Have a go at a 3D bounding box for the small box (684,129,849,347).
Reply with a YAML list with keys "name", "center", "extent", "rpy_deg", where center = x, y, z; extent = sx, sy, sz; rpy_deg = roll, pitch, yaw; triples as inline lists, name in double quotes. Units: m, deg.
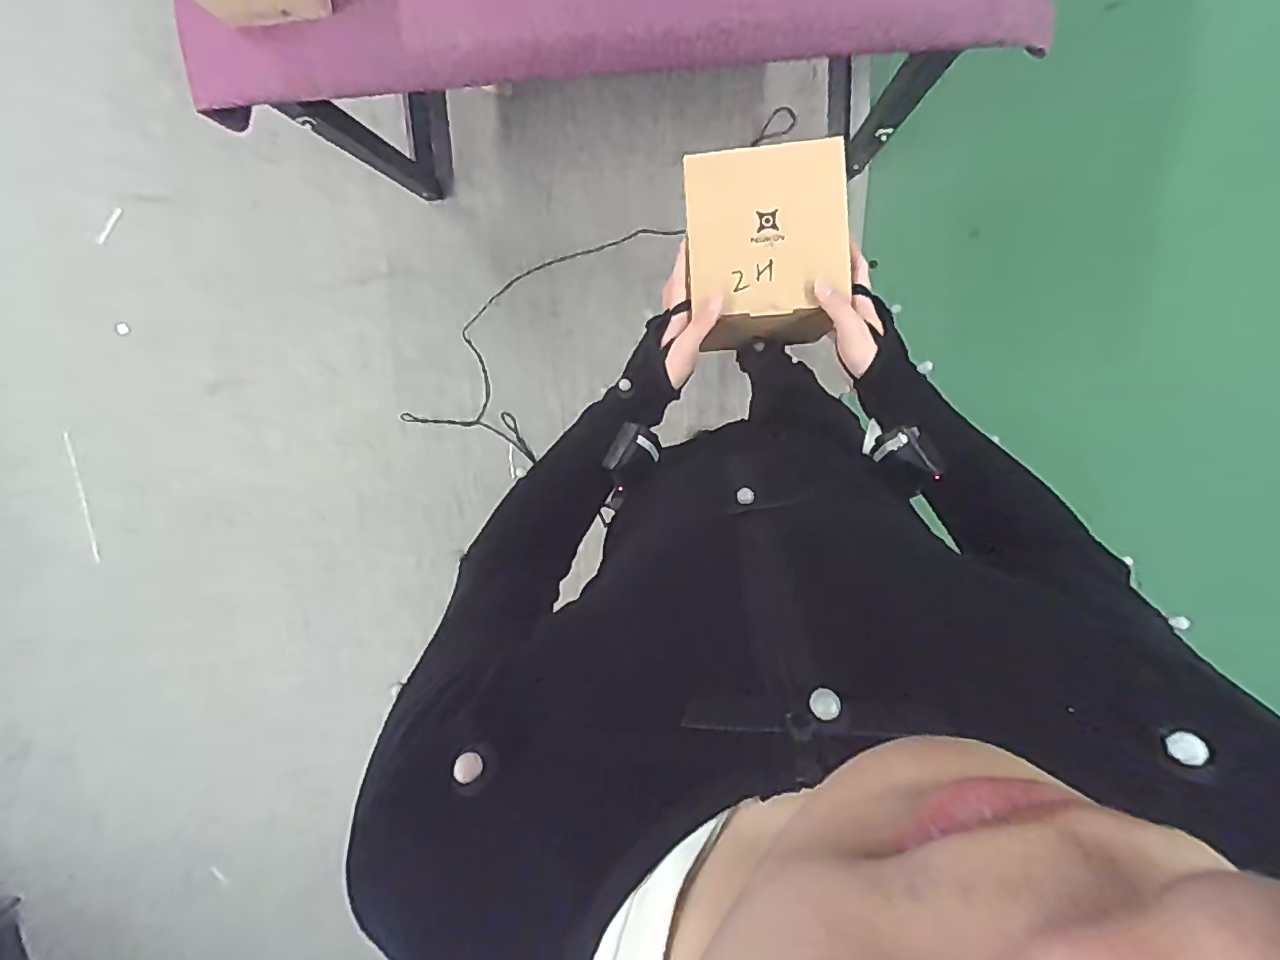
- name: "small box"
  center: [0.138, -0.267, 0.637]
  extent: [0.168, 0.176, 0.179]
  rpy_deg: [-3, 91, 8]
